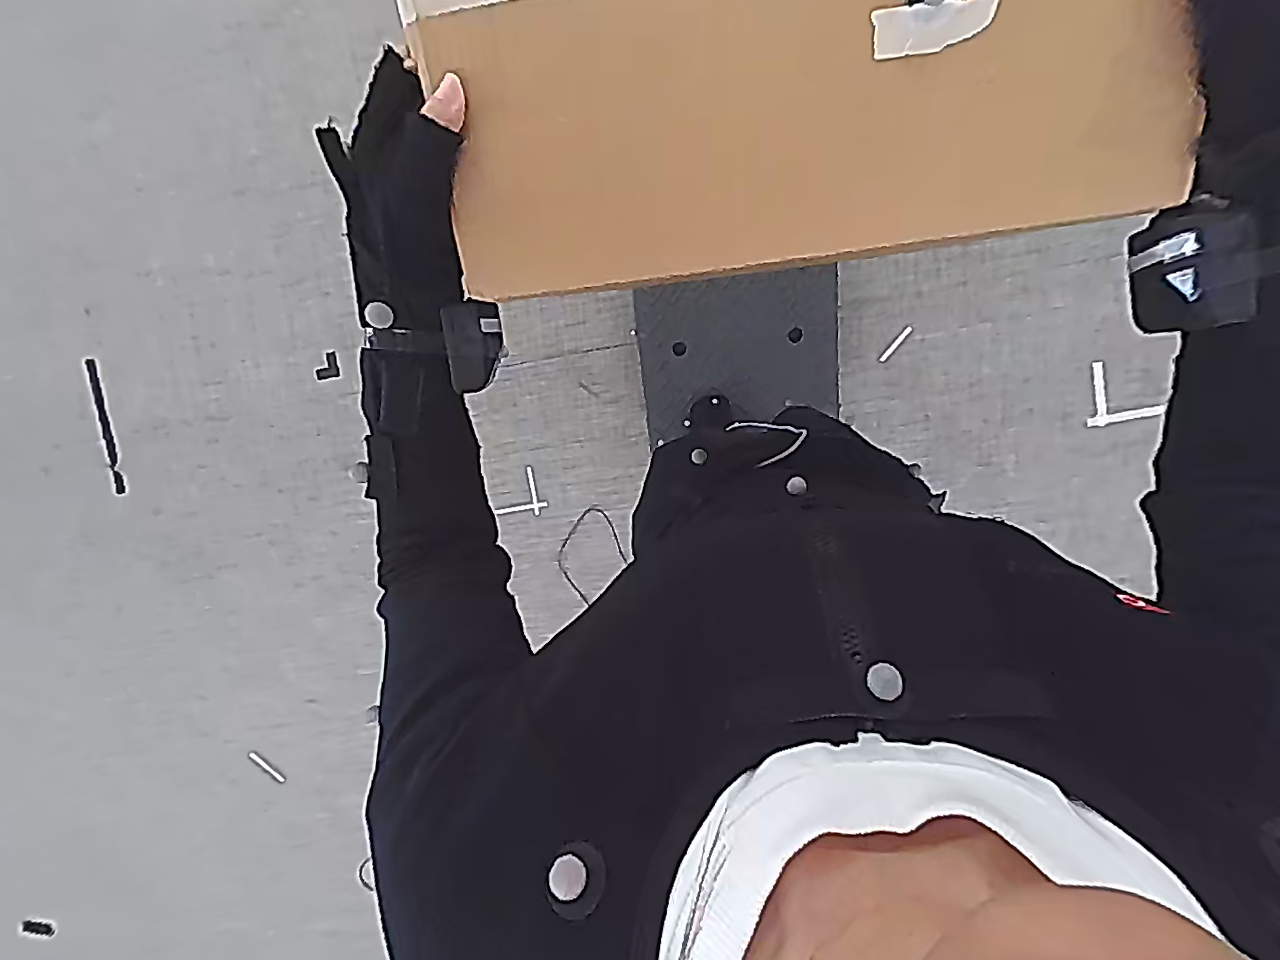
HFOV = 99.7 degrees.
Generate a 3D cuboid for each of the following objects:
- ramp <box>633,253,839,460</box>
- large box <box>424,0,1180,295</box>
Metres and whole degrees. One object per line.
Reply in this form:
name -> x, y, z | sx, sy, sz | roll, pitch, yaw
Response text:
ramp -> 0.218, -0.548, 1.288 | 0.509, 0.206, 0.991 | -7, 98, 6
large box -> 0.083, -0.334, 0.422 | 0.408, 0.320, 0.320 | -6, 109, 6
